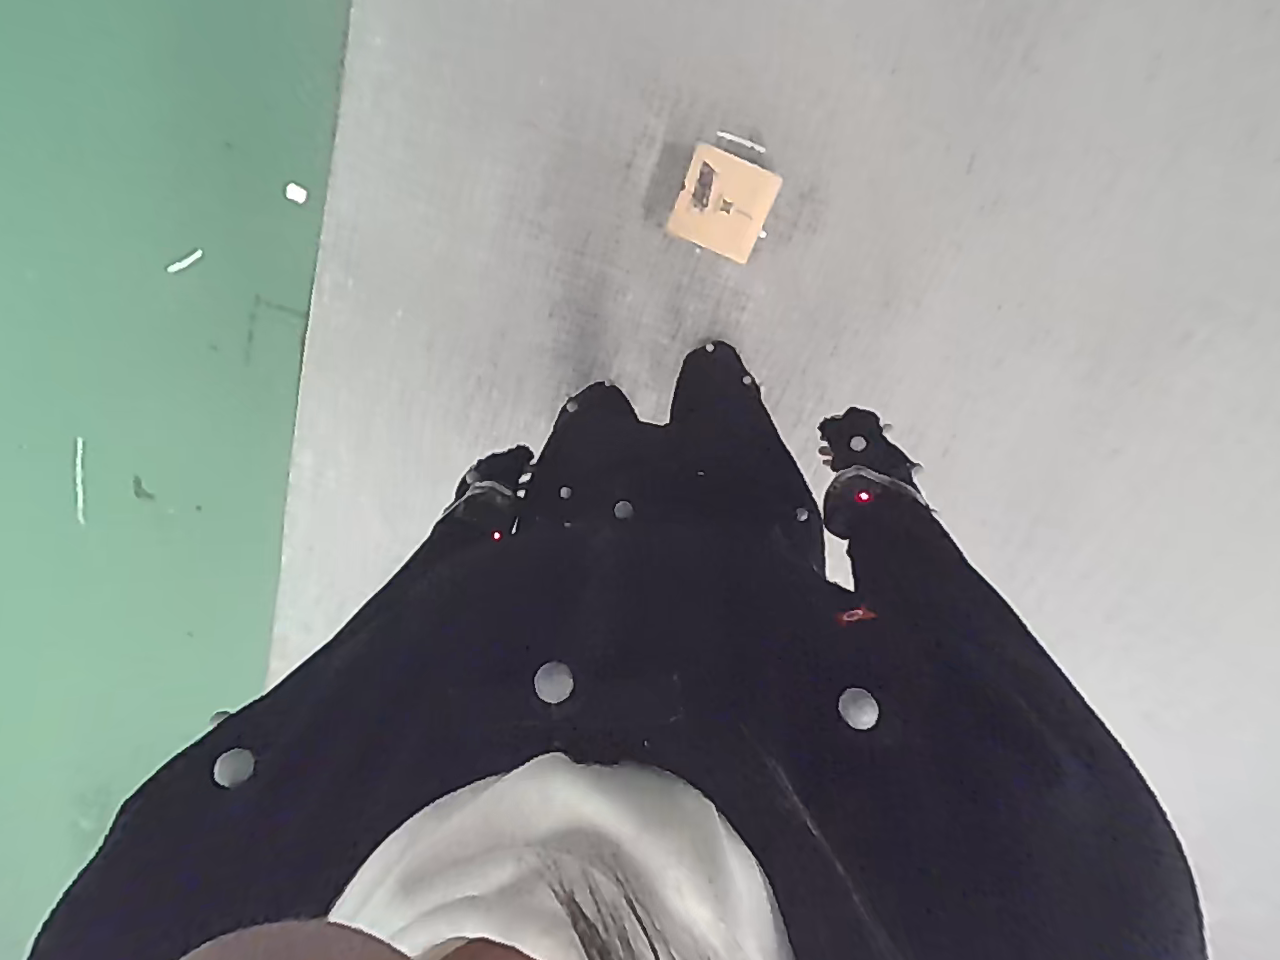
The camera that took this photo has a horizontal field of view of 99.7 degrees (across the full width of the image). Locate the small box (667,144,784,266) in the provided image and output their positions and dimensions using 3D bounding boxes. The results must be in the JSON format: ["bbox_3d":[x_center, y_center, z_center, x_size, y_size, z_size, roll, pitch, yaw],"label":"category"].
[{"bbox_3d":[0.173,-0.554,1.115,0.179,0.176,0.168,24,111,-1],"label":"small box"}]
